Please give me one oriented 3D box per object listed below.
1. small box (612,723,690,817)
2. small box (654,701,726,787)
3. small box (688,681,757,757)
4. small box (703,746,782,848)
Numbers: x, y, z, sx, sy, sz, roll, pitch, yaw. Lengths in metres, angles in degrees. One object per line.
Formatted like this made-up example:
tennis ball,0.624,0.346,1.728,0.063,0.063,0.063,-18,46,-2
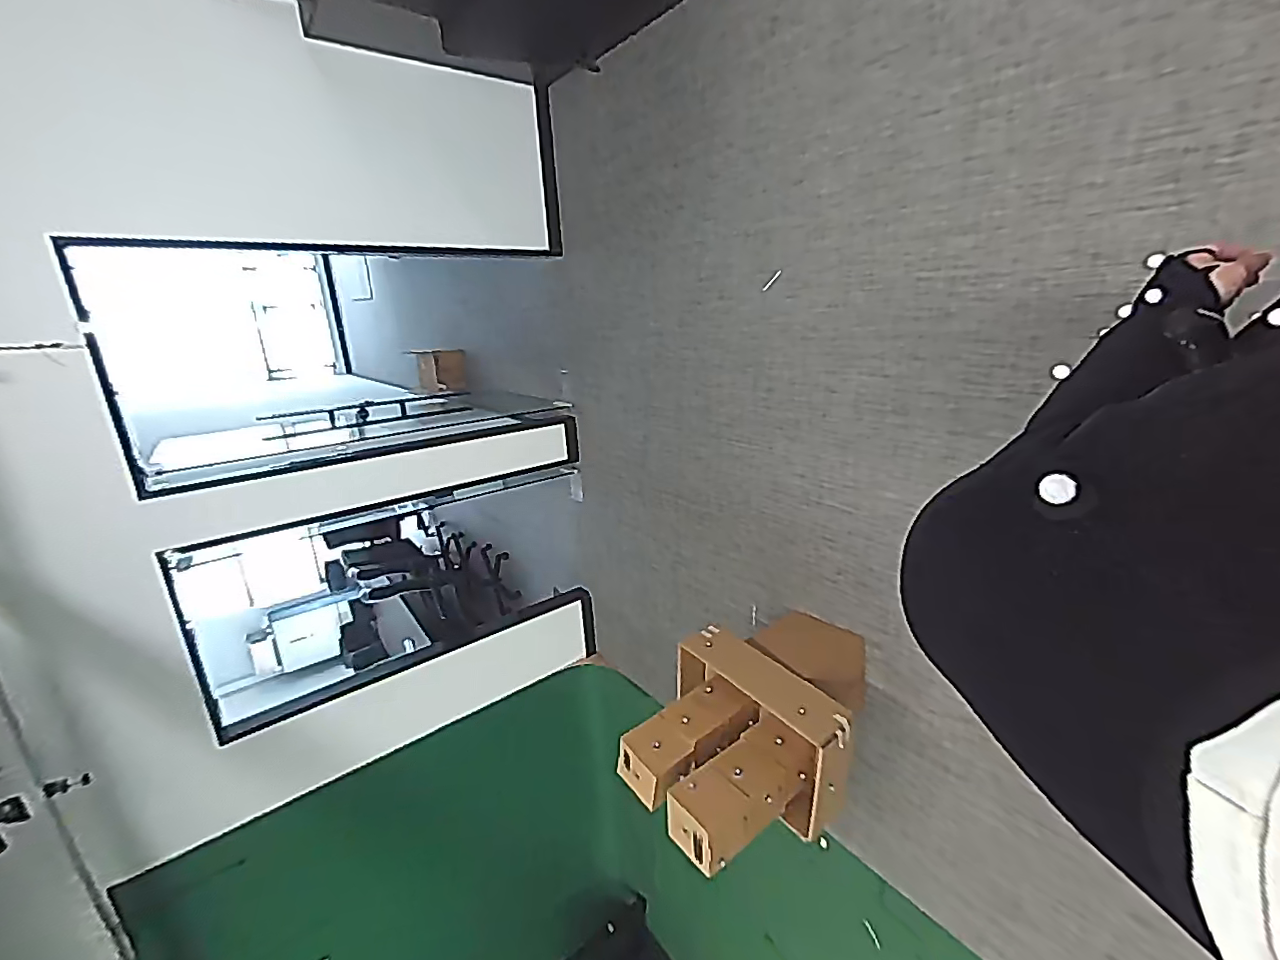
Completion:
small box,0.035,0.912,1.726,0.179,0.176,0.168,31,125,42
small box,0.164,0.875,1.819,0.179,0.176,0.168,20,116,47
small box,0.288,0.841,1.917,0.179,0.176,0.168,21,119,48
small box,0.310,0.951,1.642,0.179,0.176,0.168,20,116,50
